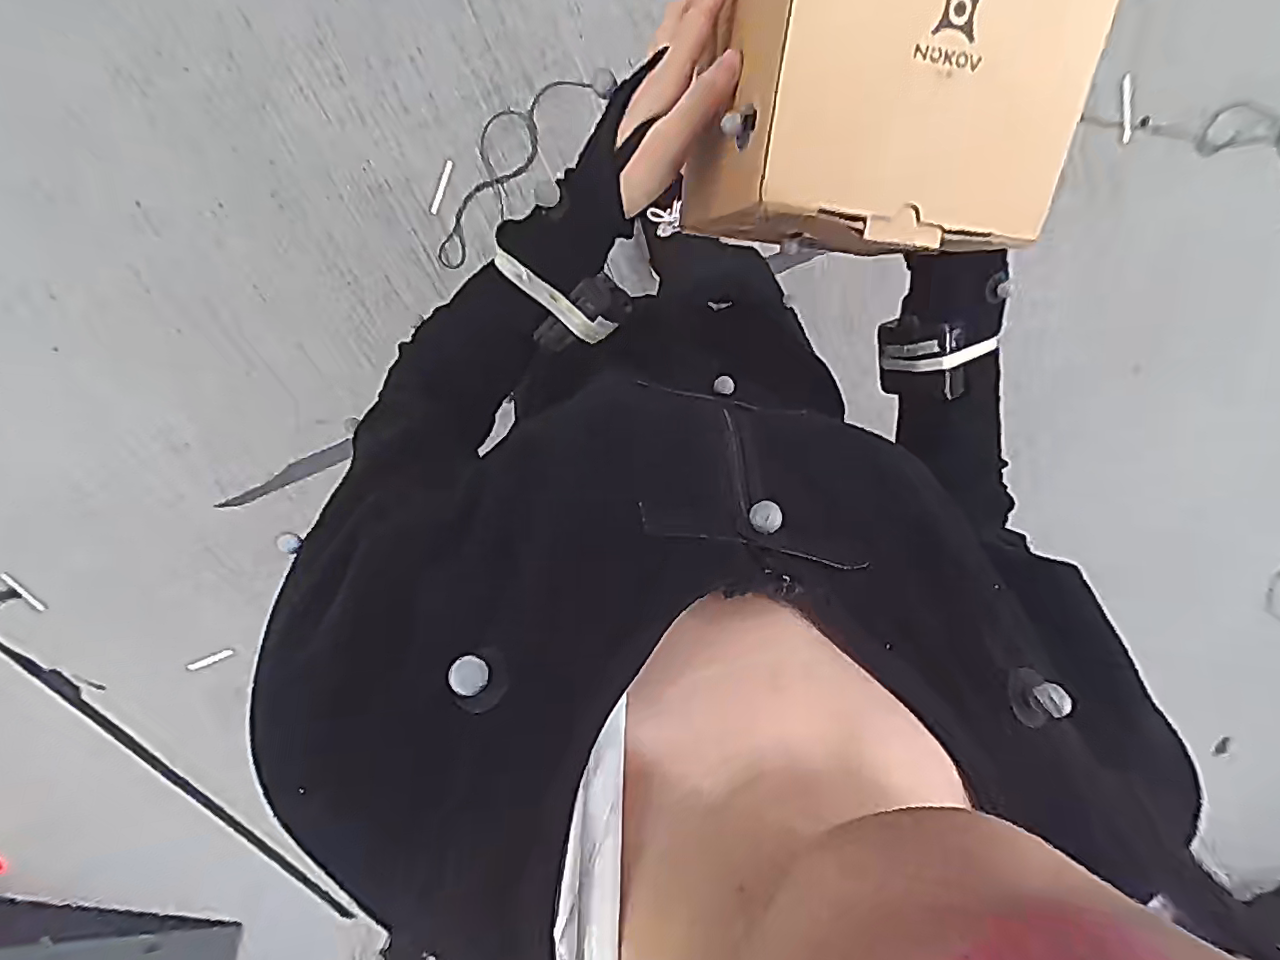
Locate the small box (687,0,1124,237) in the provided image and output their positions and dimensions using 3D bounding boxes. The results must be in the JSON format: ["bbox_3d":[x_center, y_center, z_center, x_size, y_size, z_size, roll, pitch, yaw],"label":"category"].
[{"bbox_3d":[0.132,-0.250,0.315,0.168,0.176,0.179,1,110,-11],"label":"small box"}]
